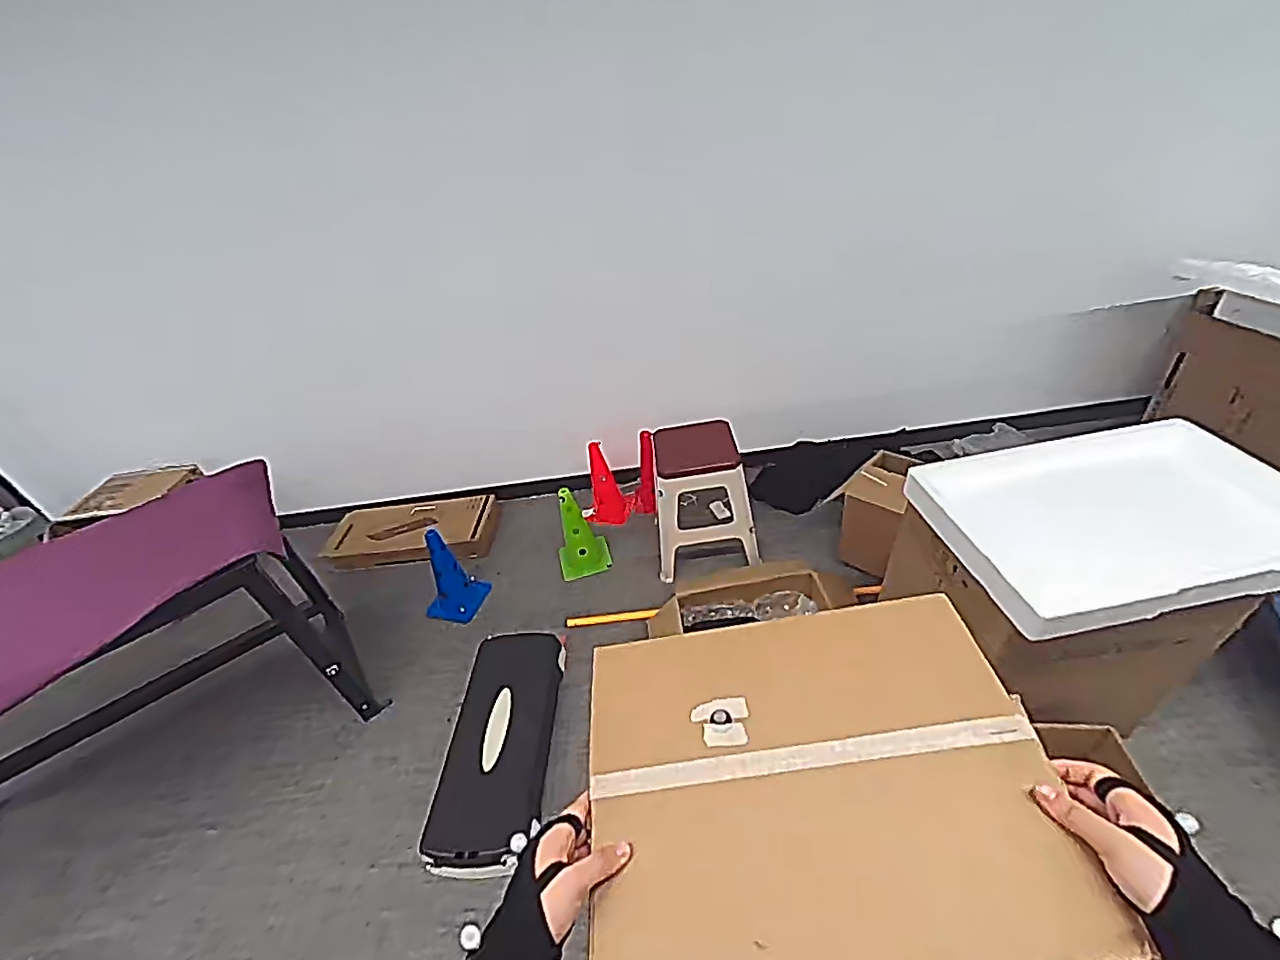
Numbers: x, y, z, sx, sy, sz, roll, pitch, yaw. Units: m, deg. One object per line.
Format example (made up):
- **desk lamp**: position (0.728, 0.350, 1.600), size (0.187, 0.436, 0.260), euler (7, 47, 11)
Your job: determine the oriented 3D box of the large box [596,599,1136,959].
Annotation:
- **large box**: position (0.186, 0.381, 0.604), size (0.408, 0.320, 0.320), euler (-12, 38, 6)
